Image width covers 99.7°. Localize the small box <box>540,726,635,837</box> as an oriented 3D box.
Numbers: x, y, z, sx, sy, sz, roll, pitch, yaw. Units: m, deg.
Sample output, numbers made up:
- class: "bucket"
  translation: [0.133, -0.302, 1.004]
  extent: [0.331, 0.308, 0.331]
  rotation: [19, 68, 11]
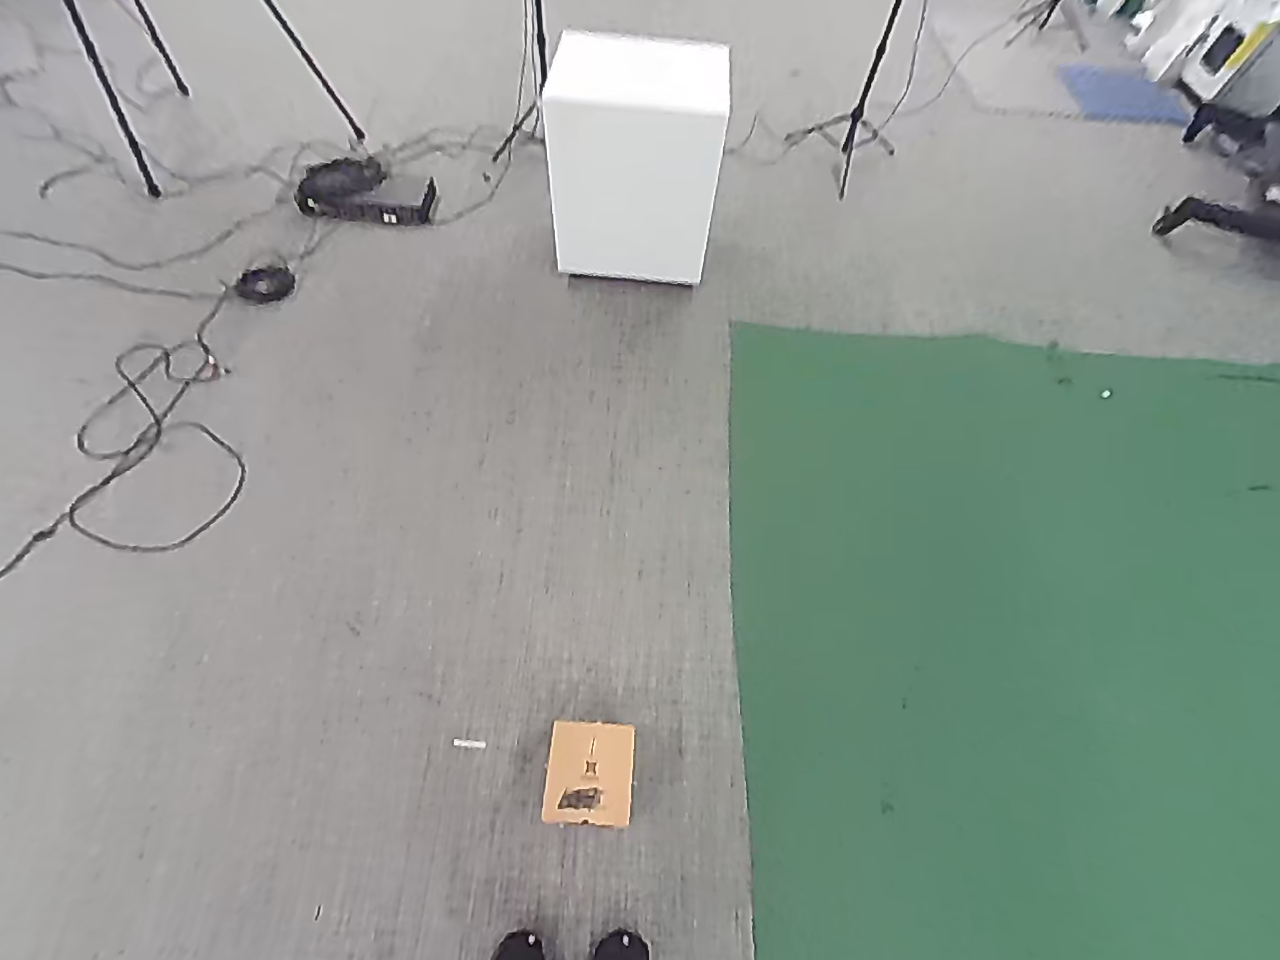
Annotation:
- class: "small box"
  translation: [-0.100, 0.613, 1.101]
  extent: [0.168, 0.176, 0.179]
  rotation: [5, 58, -1]
